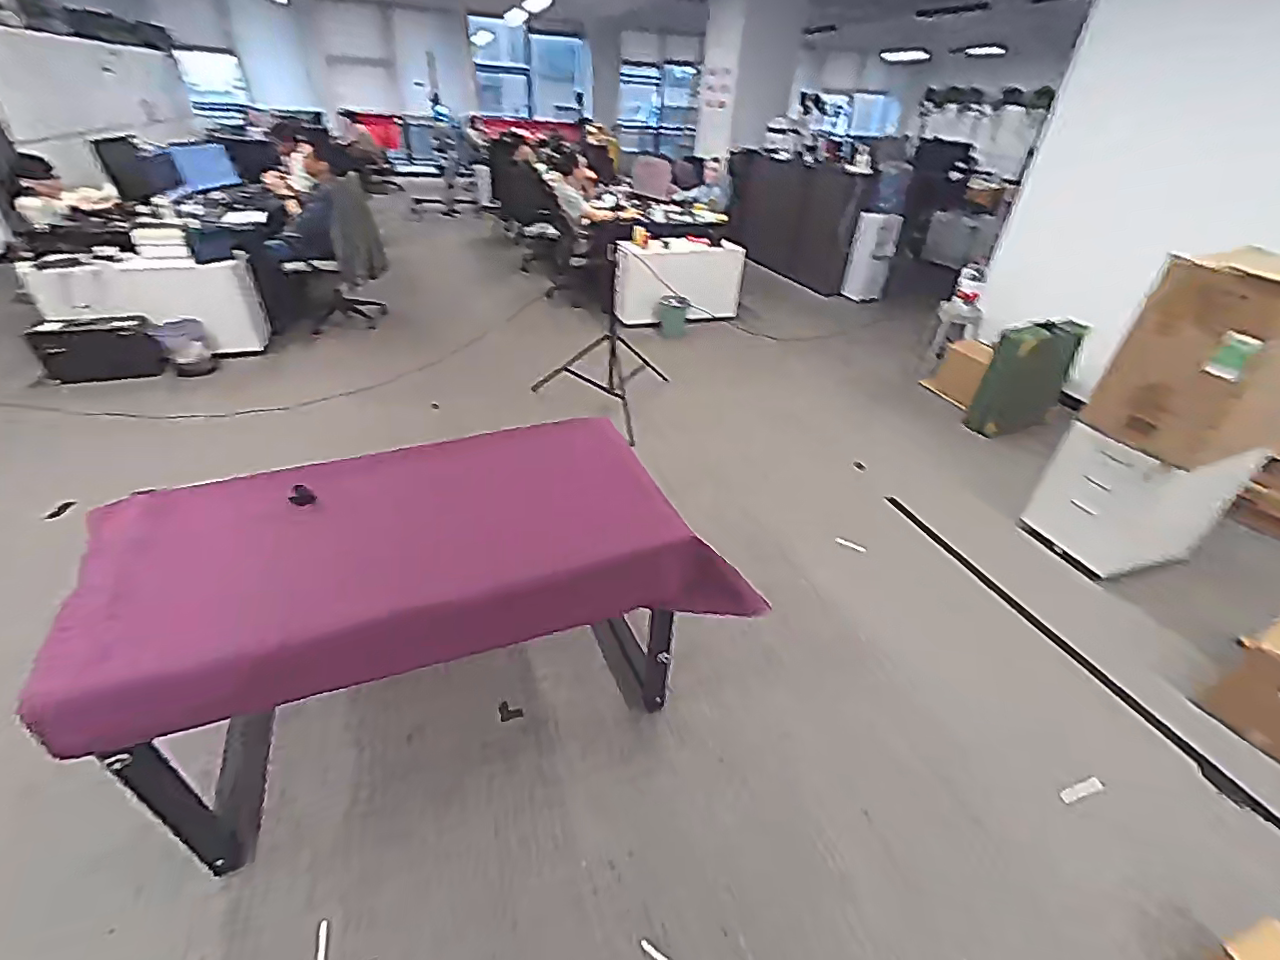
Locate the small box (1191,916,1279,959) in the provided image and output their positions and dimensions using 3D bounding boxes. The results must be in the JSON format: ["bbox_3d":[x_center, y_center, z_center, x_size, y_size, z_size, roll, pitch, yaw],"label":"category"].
[{"bbox_3d":[1.326,1.077,1.144,0.179,0.176,0.168,-10,36,-17],"label":"small box"}]
